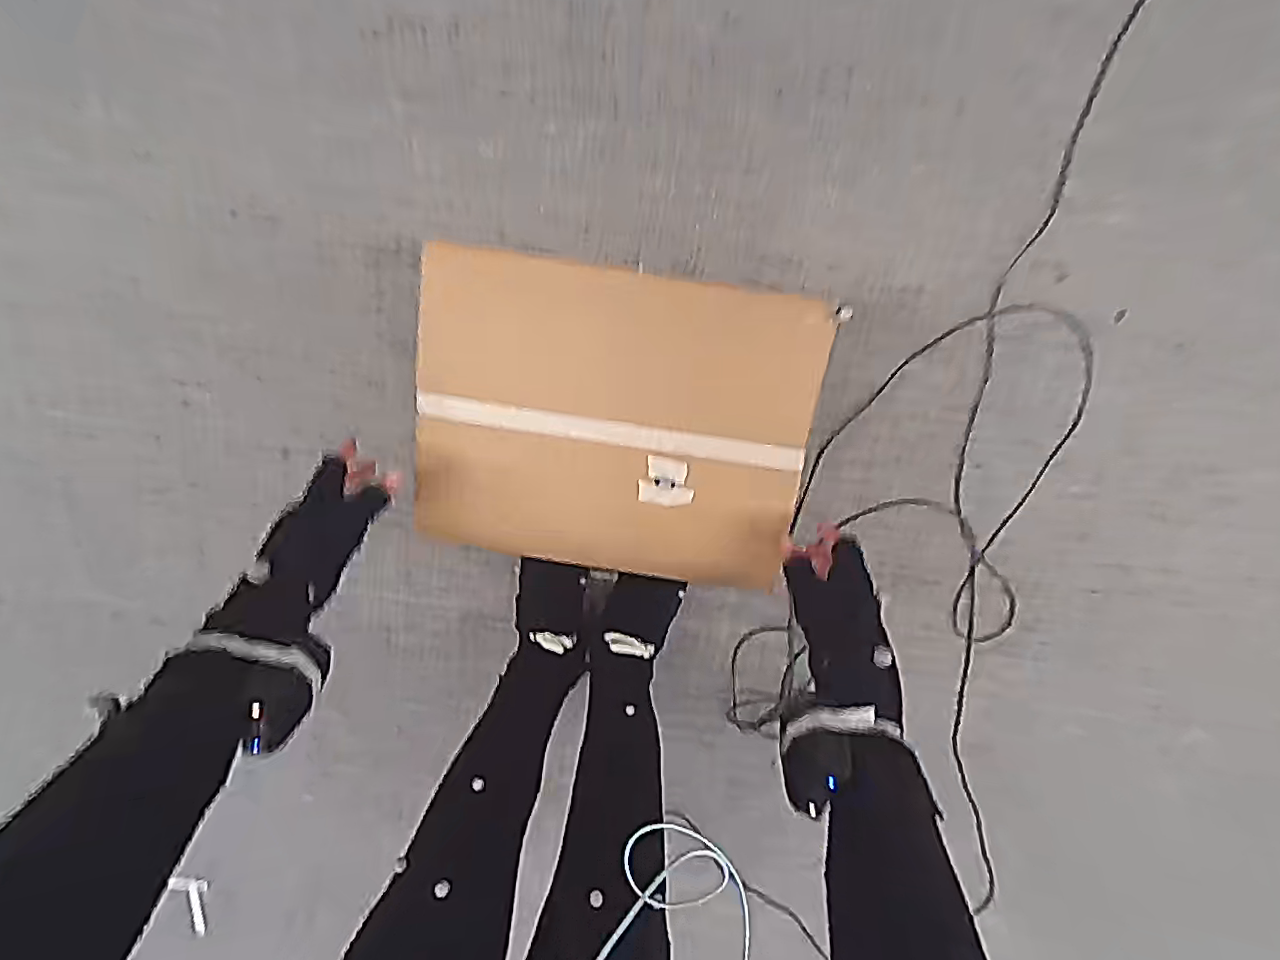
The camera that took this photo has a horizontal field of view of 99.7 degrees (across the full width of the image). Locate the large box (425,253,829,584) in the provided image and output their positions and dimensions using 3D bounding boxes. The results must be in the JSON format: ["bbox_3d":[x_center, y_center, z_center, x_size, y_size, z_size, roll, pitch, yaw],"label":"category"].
[{"bbox_3d":[-0.024,-0.092,0.714,0.408,0.320,0.320,9,107,0],"label":"large box"}]
